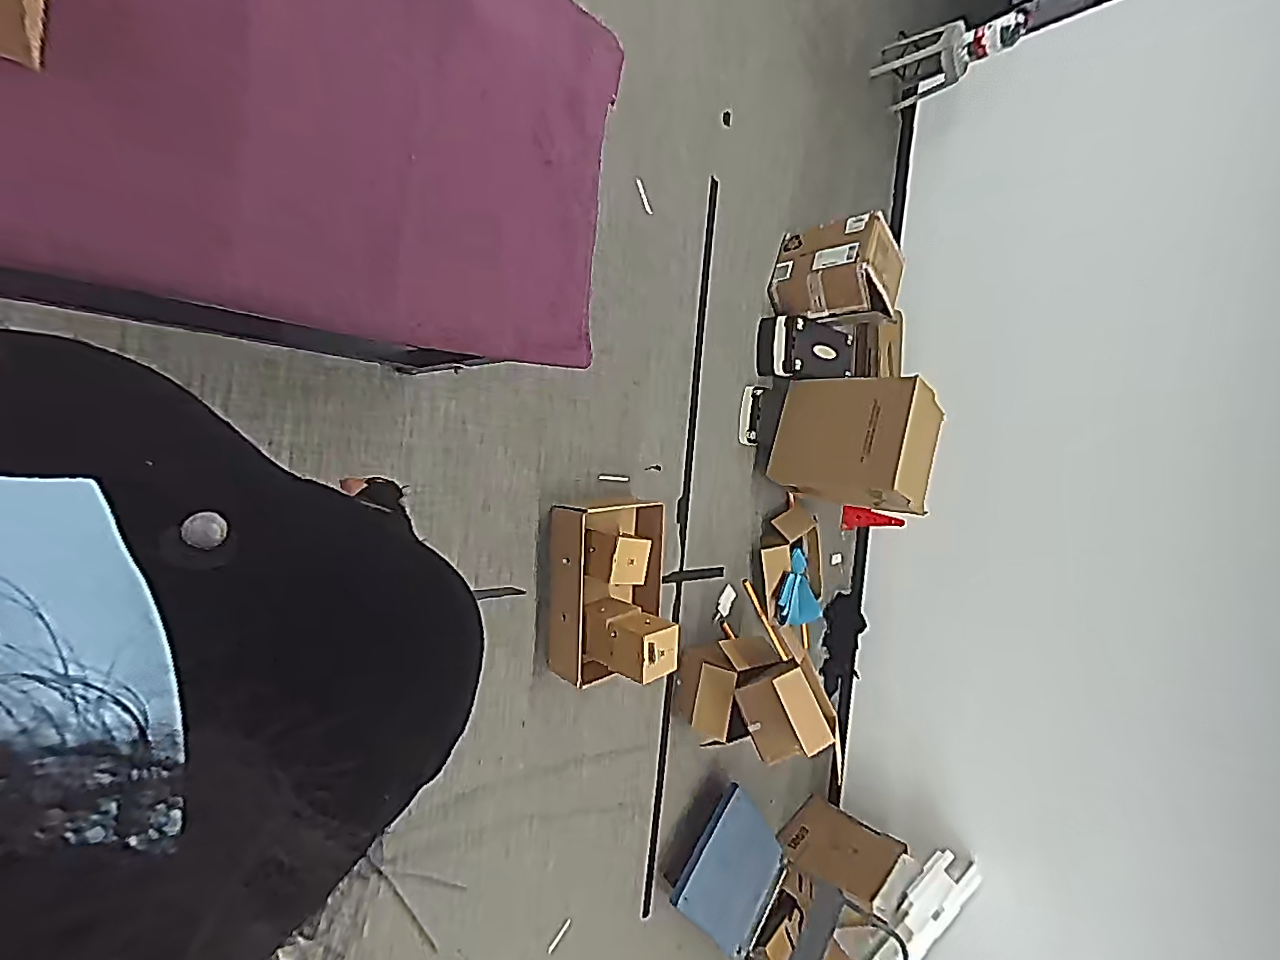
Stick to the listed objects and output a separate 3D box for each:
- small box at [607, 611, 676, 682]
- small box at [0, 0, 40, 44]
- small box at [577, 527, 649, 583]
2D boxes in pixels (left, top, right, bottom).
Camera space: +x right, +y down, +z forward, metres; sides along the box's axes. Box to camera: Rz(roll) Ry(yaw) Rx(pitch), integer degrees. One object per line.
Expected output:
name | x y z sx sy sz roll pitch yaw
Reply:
small box | 0.003 0.563 1.851 0.179 0.176 0.168 -3 97 -47
small box | -0.563 -0.470 0.392 0.179 0.176 0.168 5 92 -46
small box | -0.097 0.269 1.947 0.179 0.176 0.168 12 89 -46
